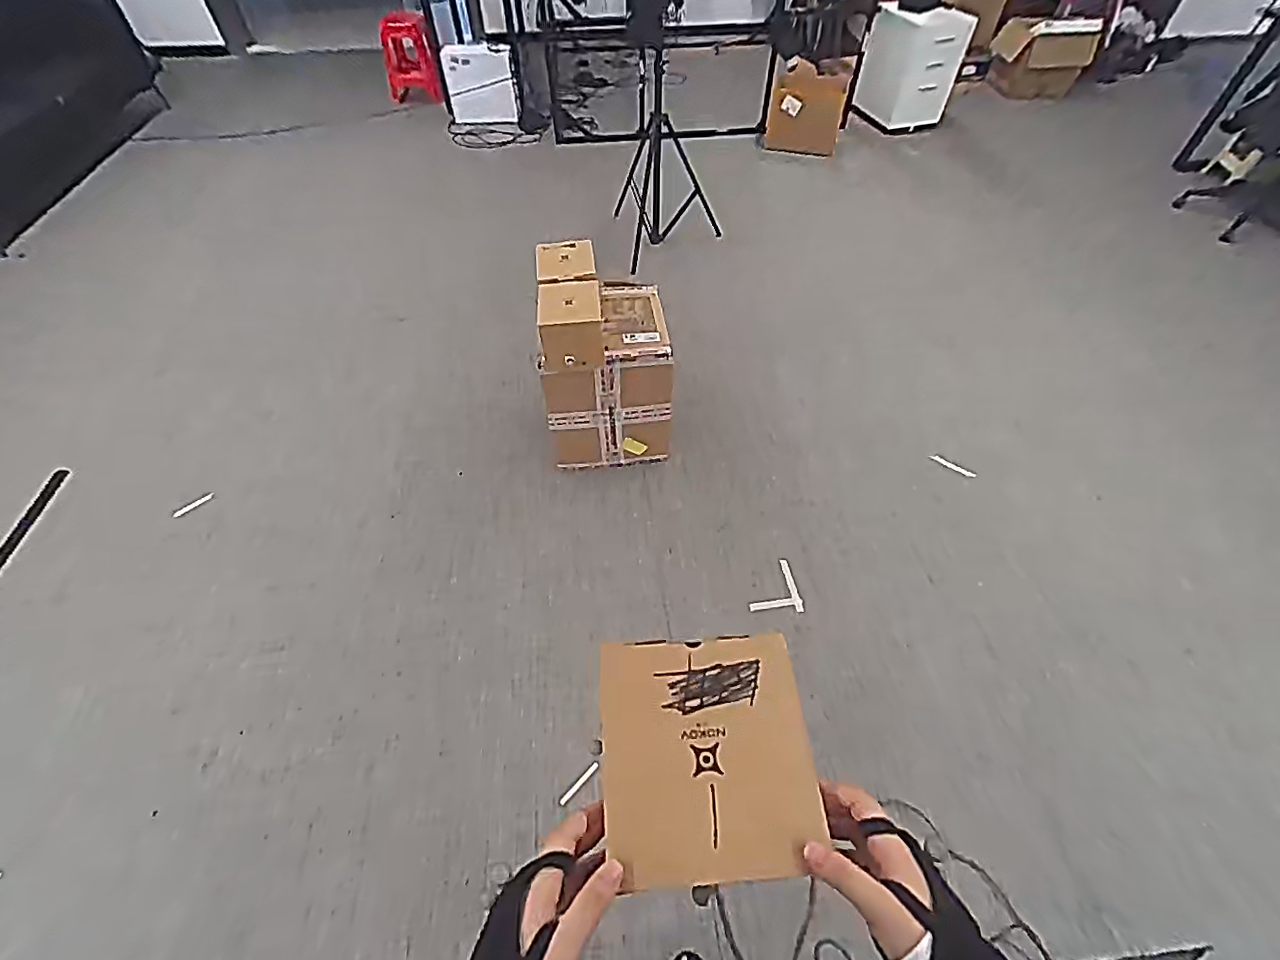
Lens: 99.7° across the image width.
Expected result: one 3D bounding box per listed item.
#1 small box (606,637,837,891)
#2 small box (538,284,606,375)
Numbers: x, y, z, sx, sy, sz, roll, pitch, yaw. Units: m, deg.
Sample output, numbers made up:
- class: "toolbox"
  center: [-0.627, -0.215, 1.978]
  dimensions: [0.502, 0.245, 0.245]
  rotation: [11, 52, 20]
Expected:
- class: "small box"
  center: [0.053, 0.259, 0.492]
  dimensions: [0.168, 0.176, 0.179]
  rotation: [-3, 55, -2]
- class: "small box"
  center: [-0.184, -0.412, 1.490]
  dimensions: [0.168, 0.176, 0.179]
  rotation: [-6, 55, -2]
